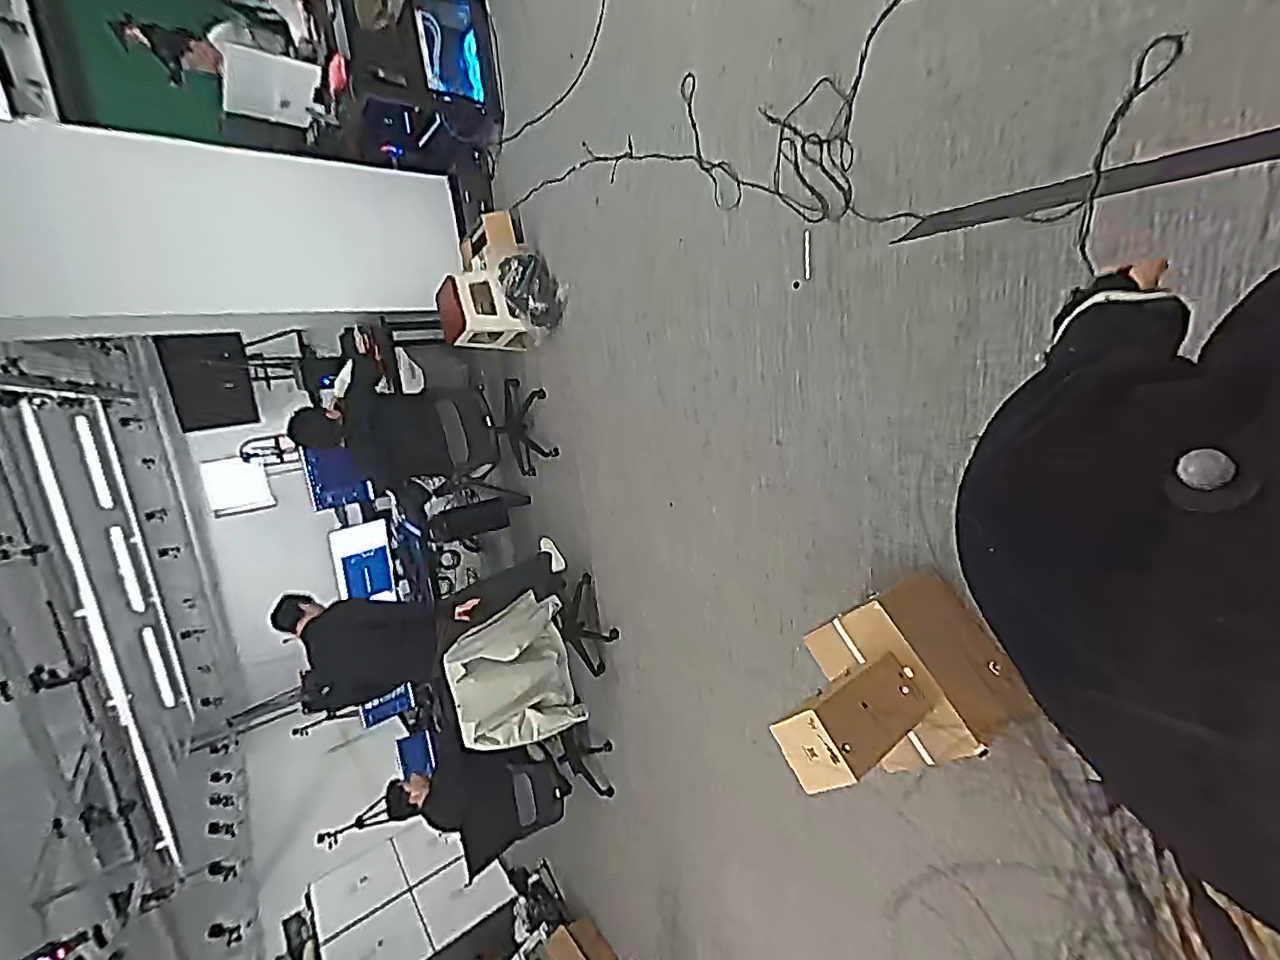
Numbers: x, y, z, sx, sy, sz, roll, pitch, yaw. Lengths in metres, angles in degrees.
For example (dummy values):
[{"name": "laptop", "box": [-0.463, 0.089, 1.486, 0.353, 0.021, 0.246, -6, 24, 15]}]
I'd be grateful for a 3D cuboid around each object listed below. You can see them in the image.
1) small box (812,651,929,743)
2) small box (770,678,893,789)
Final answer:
[{"name": "small box", "box": [0.579, 0.558, 1.361, 0.168, 0.176, 0.179, 59, 141, 21]}, {"name": "small box", "box": [0.448, 0.592, 1.268, 0.168, 0.176, 0.179, 59, 142, 21]}]
